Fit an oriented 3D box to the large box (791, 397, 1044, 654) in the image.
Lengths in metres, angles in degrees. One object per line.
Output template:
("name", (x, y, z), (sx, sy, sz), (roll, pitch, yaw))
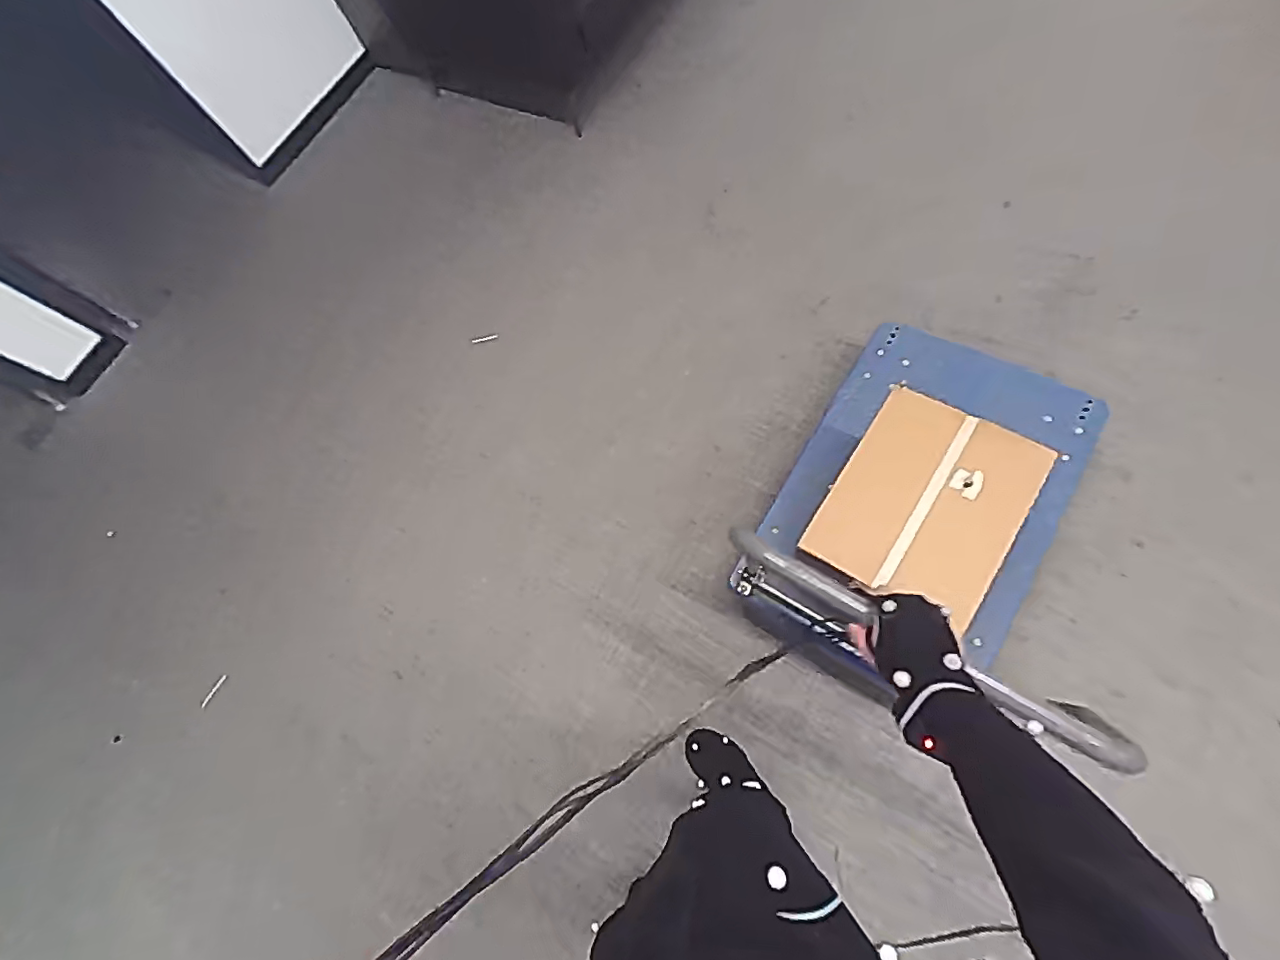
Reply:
("large box", (0.564, 0.109, 1.169), (0.320, 0.320, 0.408), (31, 77, 20))
